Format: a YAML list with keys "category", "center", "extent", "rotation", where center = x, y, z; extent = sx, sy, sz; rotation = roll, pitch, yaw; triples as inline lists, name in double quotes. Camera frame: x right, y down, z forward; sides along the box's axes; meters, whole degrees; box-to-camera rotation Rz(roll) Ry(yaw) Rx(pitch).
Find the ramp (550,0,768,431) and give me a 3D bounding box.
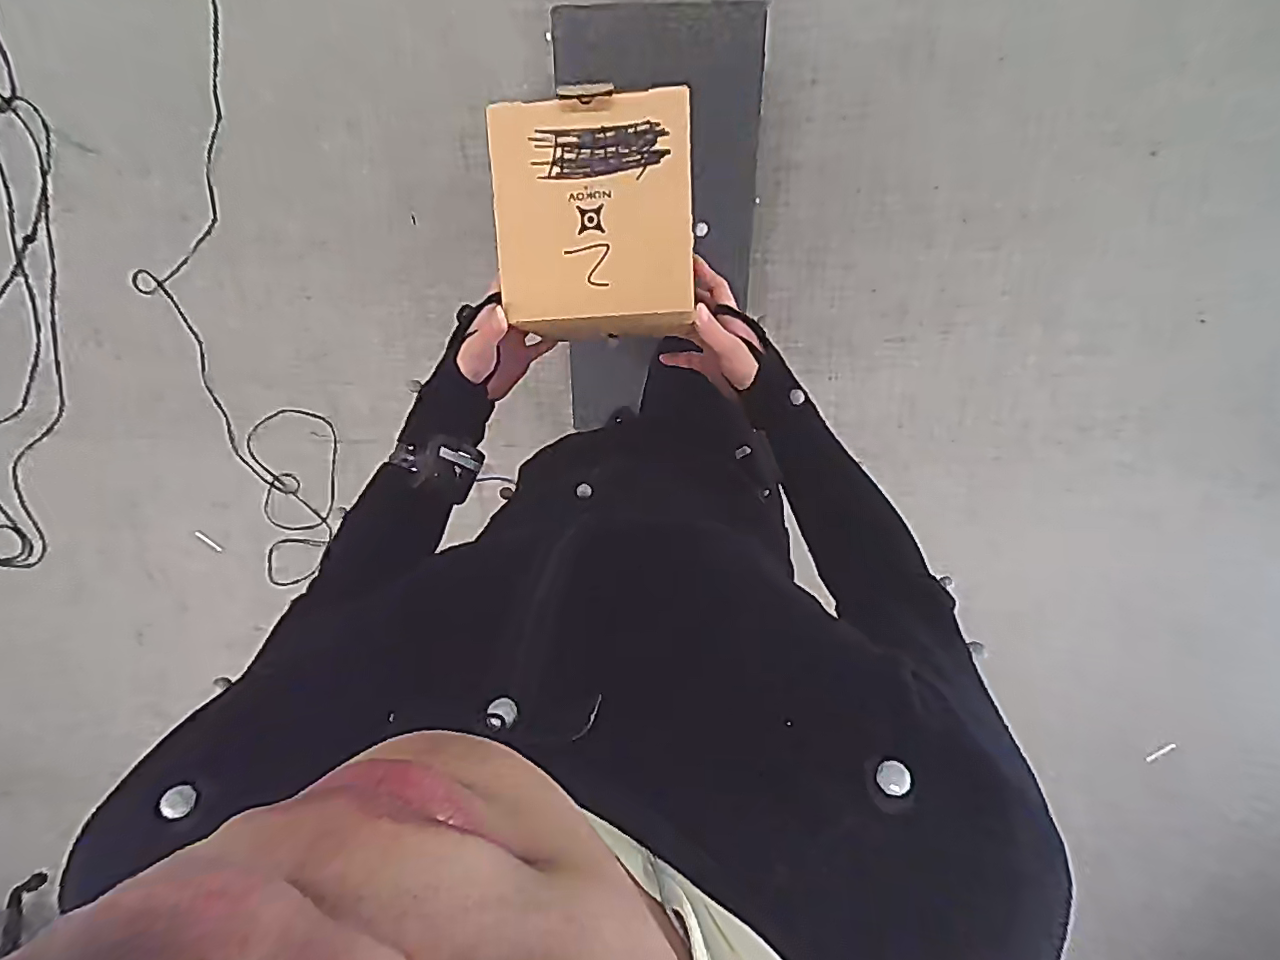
- category: "ramp"
  center: [0.047, -0.603, 1.393]
  extent: [0.509, 0.206, 0.991]
  rotation: [-1, 103, 1]
